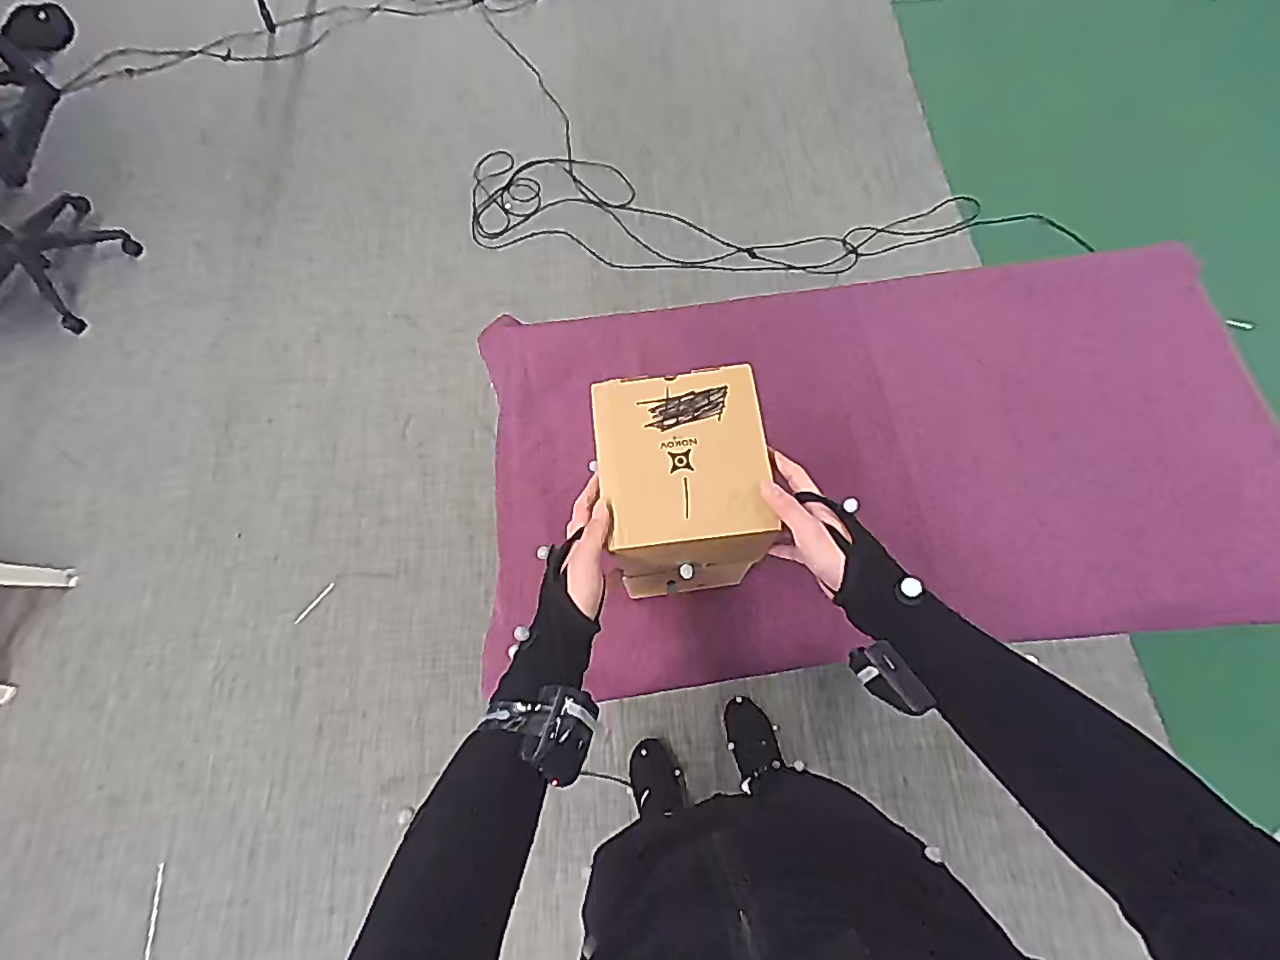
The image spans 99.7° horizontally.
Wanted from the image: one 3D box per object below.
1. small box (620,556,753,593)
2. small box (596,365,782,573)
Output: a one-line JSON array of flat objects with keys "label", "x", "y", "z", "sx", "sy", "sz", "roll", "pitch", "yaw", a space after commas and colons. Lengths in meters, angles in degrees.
[{"label": "small box", "x": 0.056, "y": 0.058, "z": 0.759, "sx": 0.168, "sy": 0.176, "sz": 0.179, "roll": -8, "pitch": 68, "yaw": 1}, {"label": "small box", "x": 0.048, "y": -0.002, "z": 0.596, "sx": 0.168, "sy": 0.176, "sz": 0.179, "roll": -7, "pitch": 73, "yaw": 3}]
